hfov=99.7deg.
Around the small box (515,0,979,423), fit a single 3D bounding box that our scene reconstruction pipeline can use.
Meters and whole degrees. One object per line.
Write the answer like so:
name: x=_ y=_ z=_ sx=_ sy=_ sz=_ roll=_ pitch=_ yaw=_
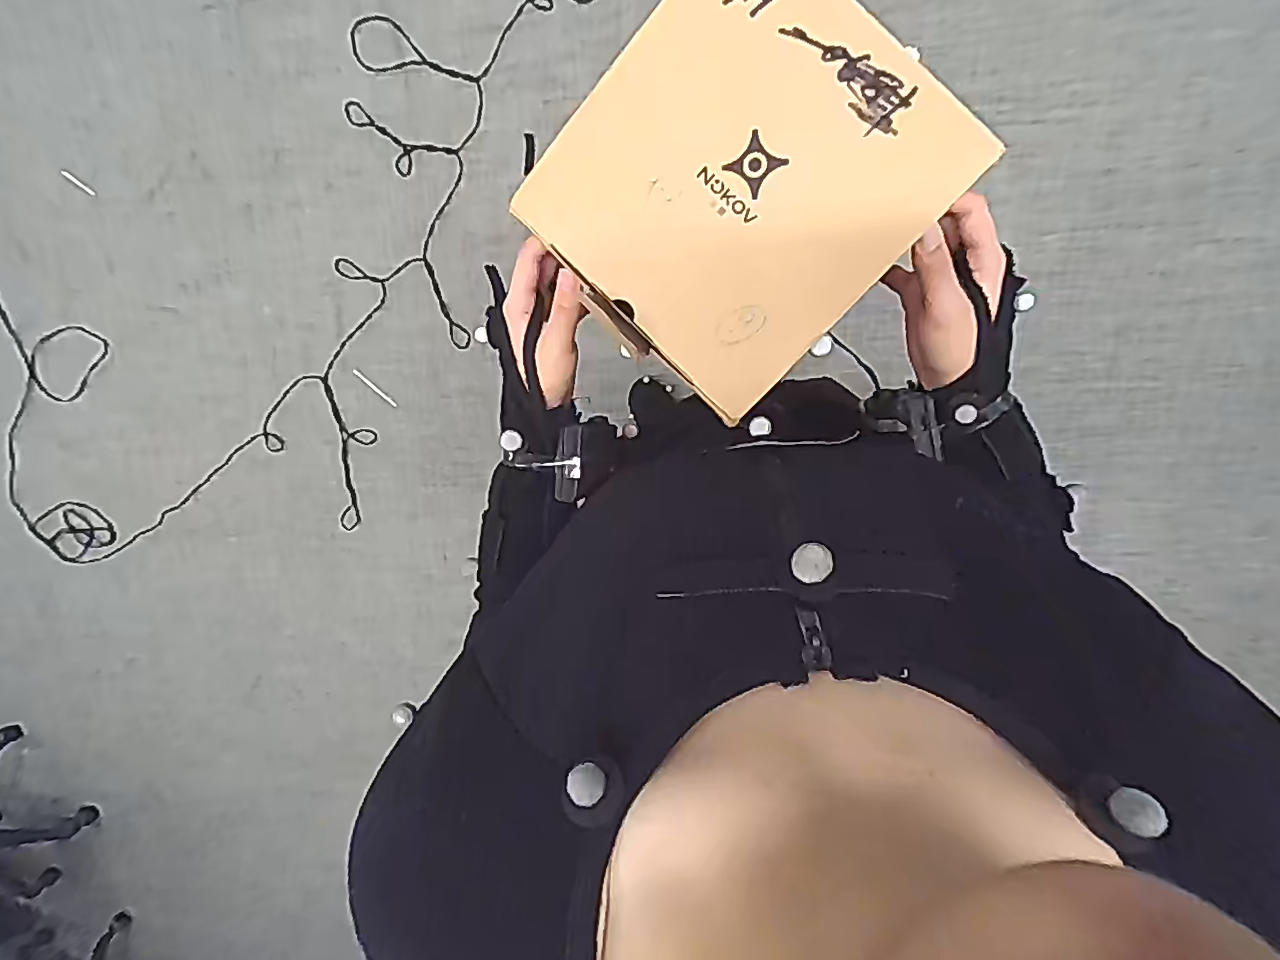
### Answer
small box: x=0.059 y=-0.157 z=0.350 sx=0.168 sy=0.176 sz=0.179 roll=43 pitch=102 yaw=0
